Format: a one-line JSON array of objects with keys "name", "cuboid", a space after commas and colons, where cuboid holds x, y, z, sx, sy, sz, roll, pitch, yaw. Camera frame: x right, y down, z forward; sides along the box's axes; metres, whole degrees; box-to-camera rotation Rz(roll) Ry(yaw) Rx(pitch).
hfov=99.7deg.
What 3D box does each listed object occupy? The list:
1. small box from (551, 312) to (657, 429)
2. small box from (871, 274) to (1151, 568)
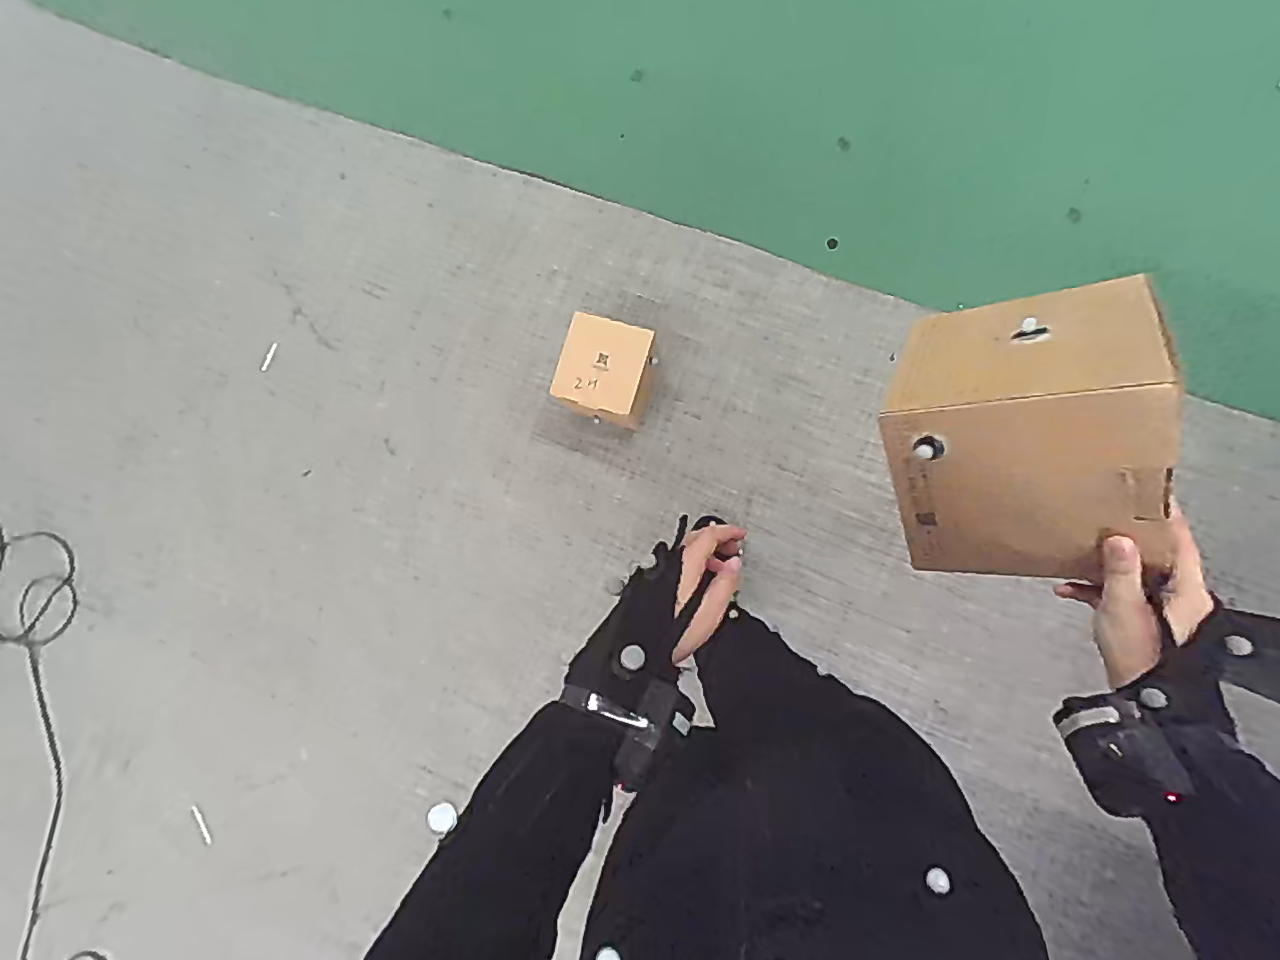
[{"name": "small box", "cuboid": [-0.065, -0.220, 1.123, 0.168, 0.176, 0.179, 17, 88, 8]}, {"name": "small box", "cuboid": [0.308, -0.045, 0.458, 0.176, 0.179, 0.168, -4, 124, 38]}]
